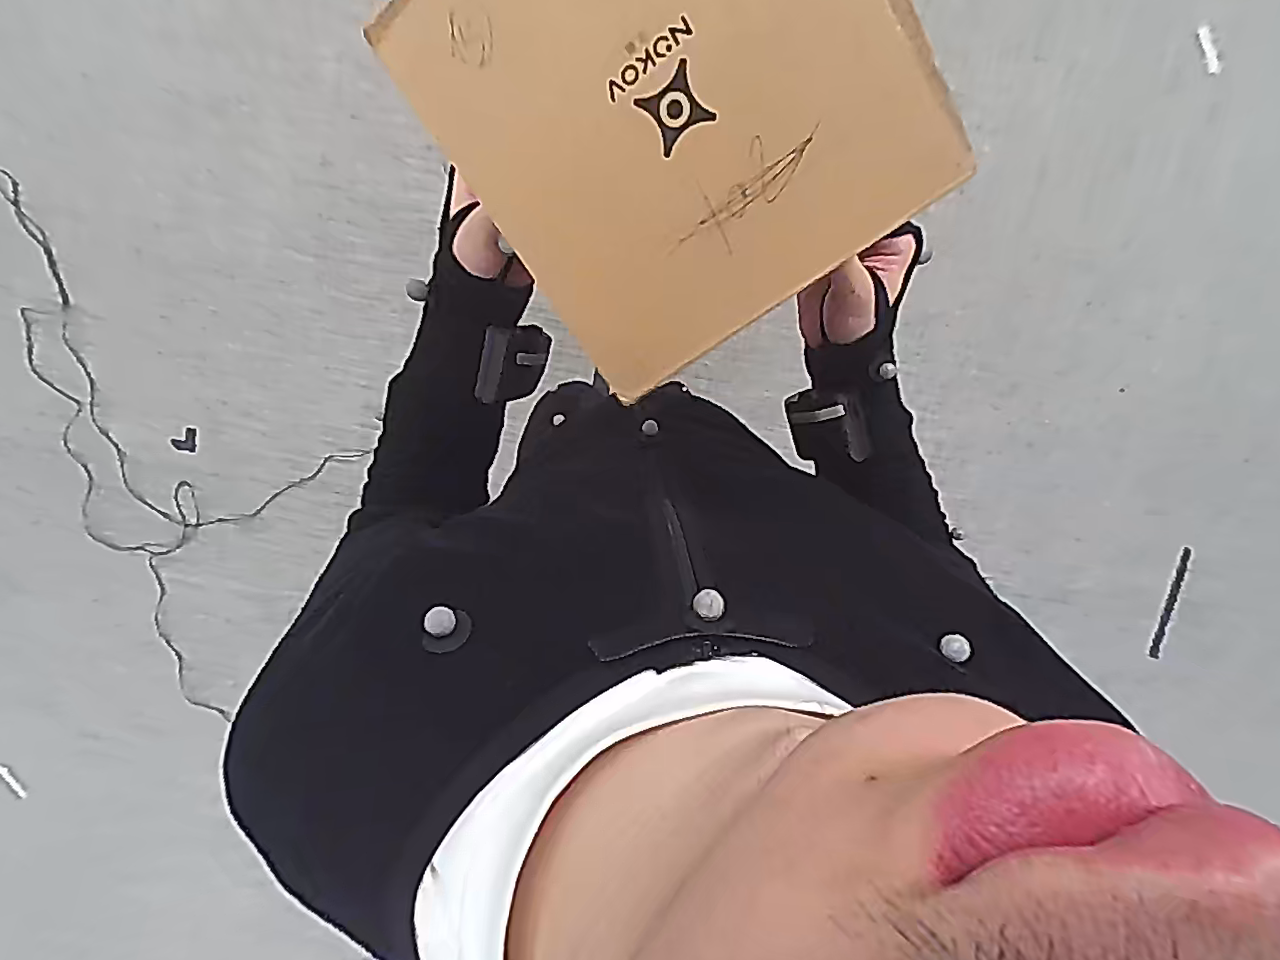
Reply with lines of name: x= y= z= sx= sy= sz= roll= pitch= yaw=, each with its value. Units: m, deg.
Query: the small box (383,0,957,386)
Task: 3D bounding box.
small box: x=0.018 y=-0.181 z=0.286 sx=0.168 sy=0.176 sz=0.179 roll=-33 pitch=108 yaw=18
